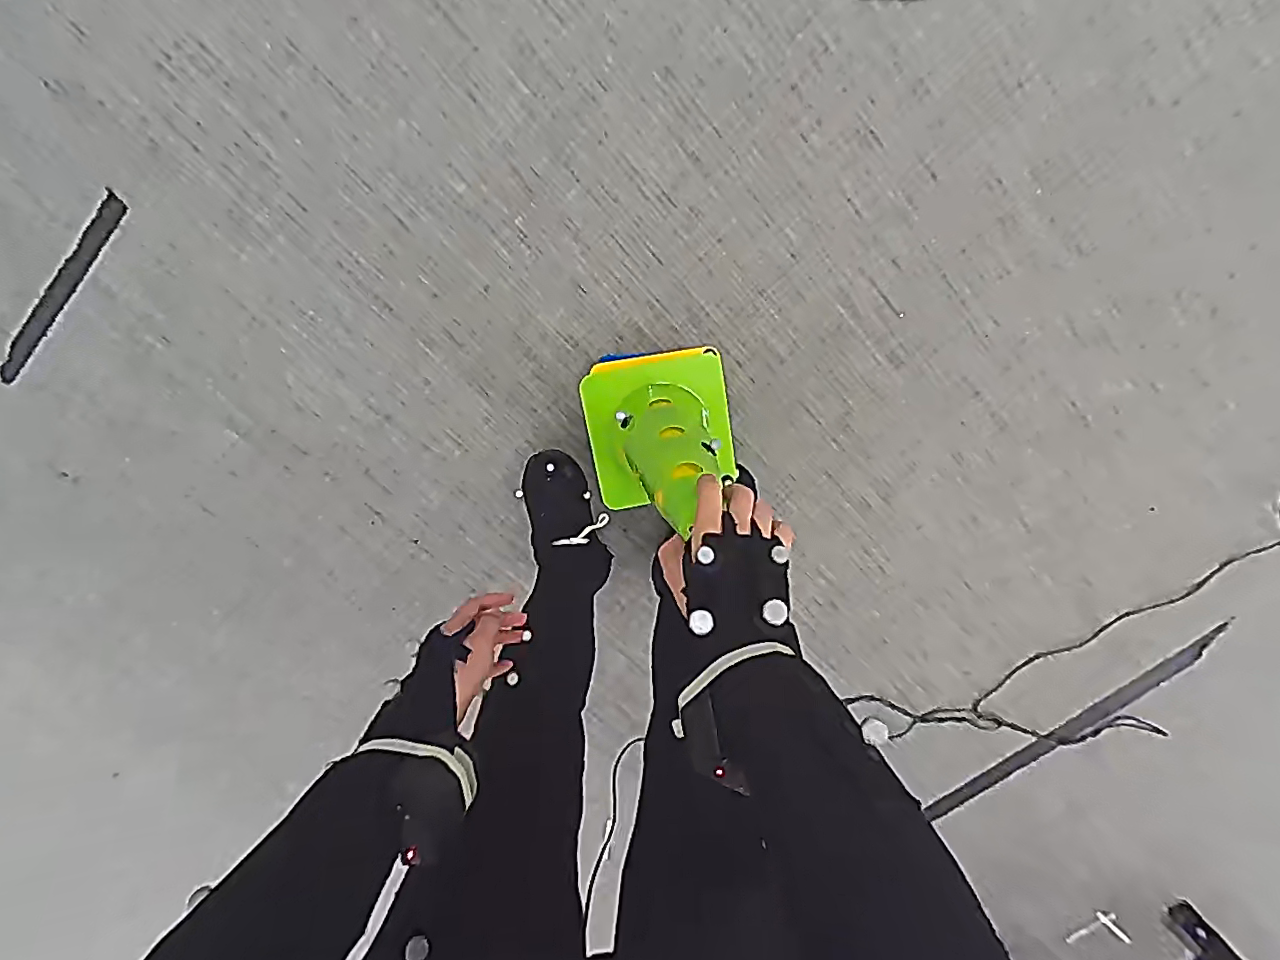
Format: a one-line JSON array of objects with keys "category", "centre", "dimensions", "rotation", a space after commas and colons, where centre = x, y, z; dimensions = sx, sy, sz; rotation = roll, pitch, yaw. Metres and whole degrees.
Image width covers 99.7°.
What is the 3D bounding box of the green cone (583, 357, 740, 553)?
[{"category": "green cone", "centre": [0.043, -0.014, 0.597], "dimensions": [0.202, 0.368, 0.200], "rotation": [-12, 106, 0]}]
